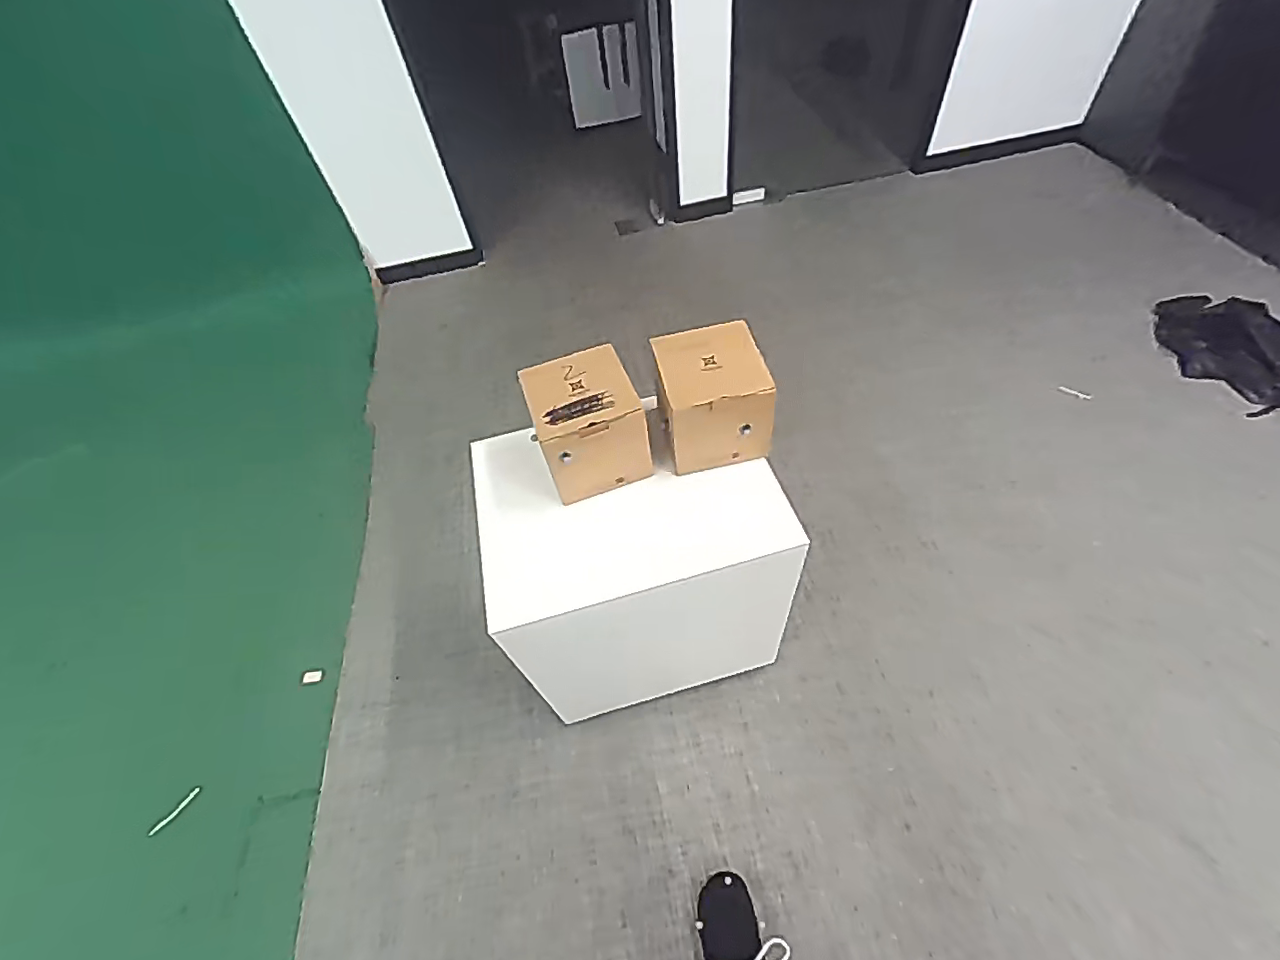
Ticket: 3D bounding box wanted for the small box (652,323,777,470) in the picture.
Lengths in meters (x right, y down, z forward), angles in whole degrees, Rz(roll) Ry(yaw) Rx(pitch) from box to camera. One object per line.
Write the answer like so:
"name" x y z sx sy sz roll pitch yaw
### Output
"small box" 0.122 -0.134 0.922 0.168 0.176 0.179 -12 52 -2
